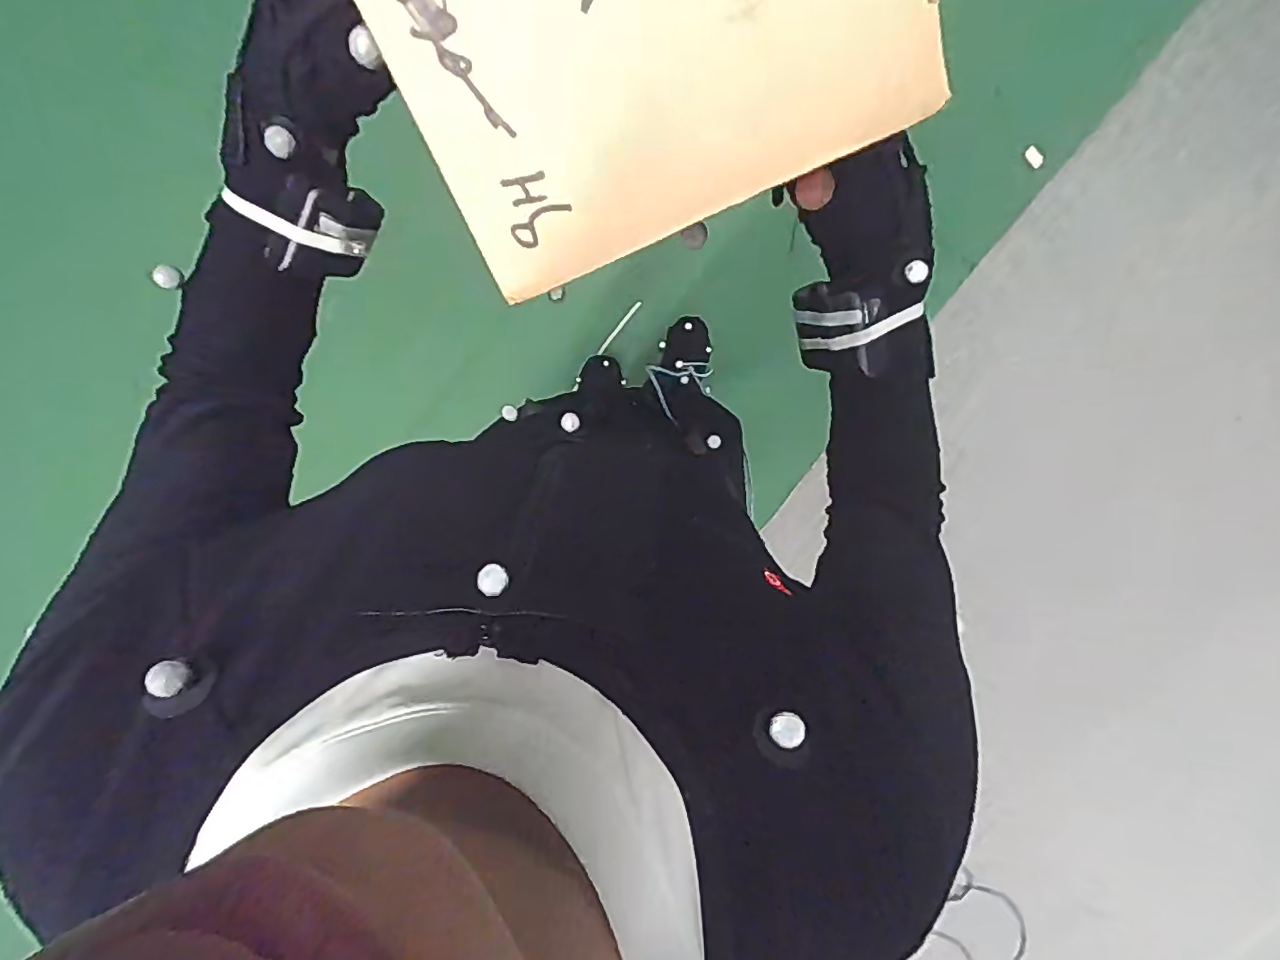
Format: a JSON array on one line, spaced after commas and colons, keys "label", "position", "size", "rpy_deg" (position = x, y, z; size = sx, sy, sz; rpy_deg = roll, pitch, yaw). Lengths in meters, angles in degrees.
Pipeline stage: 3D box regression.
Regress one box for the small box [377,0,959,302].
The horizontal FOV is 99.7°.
[{"label": "small box", "position": [0.002, -0.200, 0.240], "size": [0.179, 0.176, 0.168], "rpy_deg": [-20, 114, 9]}]
